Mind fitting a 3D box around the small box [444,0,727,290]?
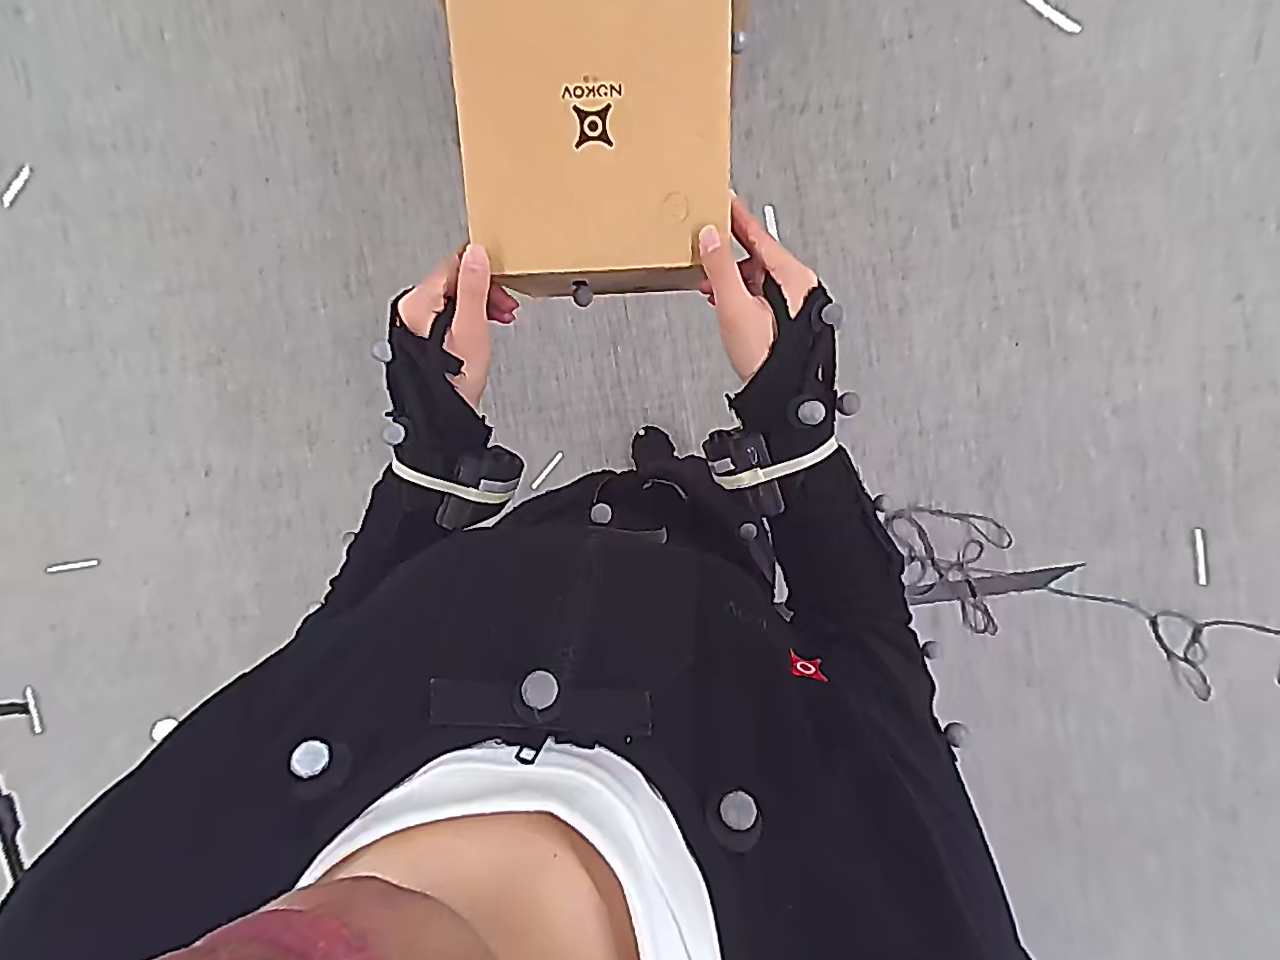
[{"bbox_3d":[-0.027,-0.239,0.398,0.168,0.176,0.179,-2,103,2],"label":"small box"}]
